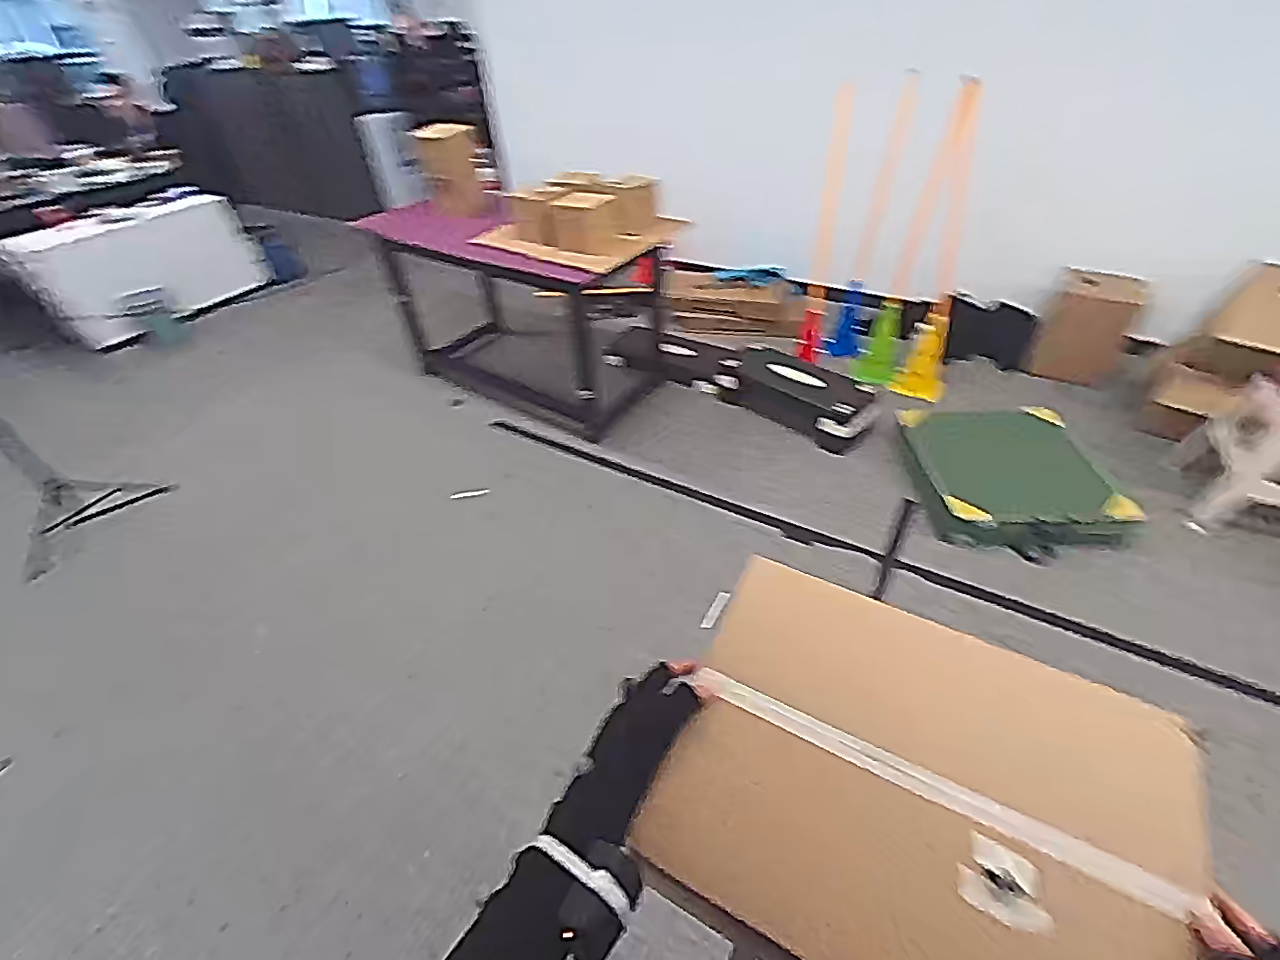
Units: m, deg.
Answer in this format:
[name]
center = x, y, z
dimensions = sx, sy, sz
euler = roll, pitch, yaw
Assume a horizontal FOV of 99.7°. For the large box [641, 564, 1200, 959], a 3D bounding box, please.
[large box]
center = 0.246, 0.356, 0.586
dimensions = 0.408, 0.320, 0.320
euler = 20, 54, 19
